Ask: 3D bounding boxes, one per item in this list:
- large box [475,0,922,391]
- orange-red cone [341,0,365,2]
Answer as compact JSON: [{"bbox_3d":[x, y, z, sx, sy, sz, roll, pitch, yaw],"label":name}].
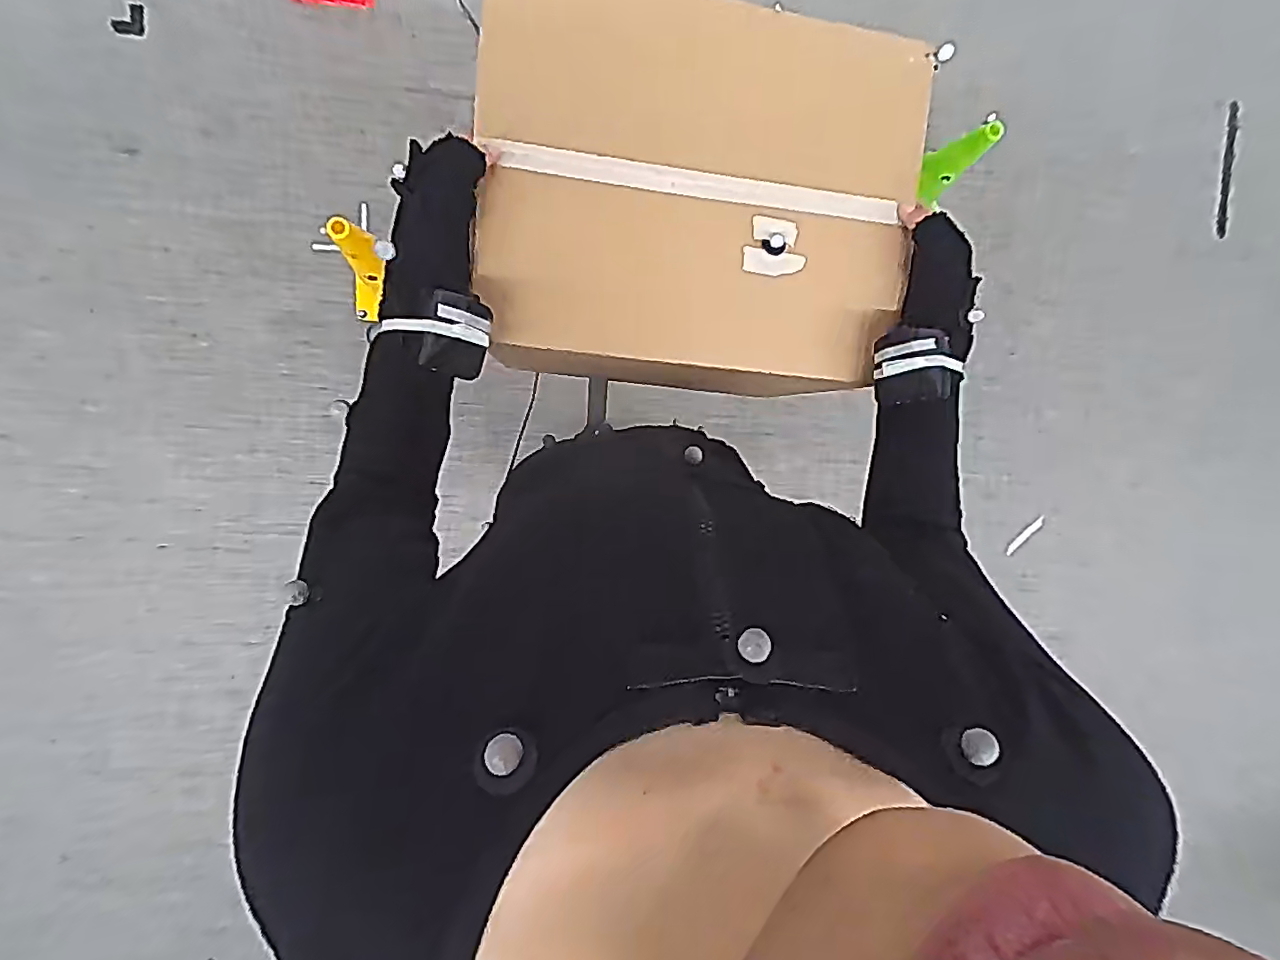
[{"bbox_3d":[0.037,-0.282,0.636,0.408,0.320,0.320,4,96,-9],"label":"large box"},{"bbox_3d":[-0.716,-1.219,1.103,0.198,0.360,0.199,0,96,-6],"label":"orange-red cone"}]
